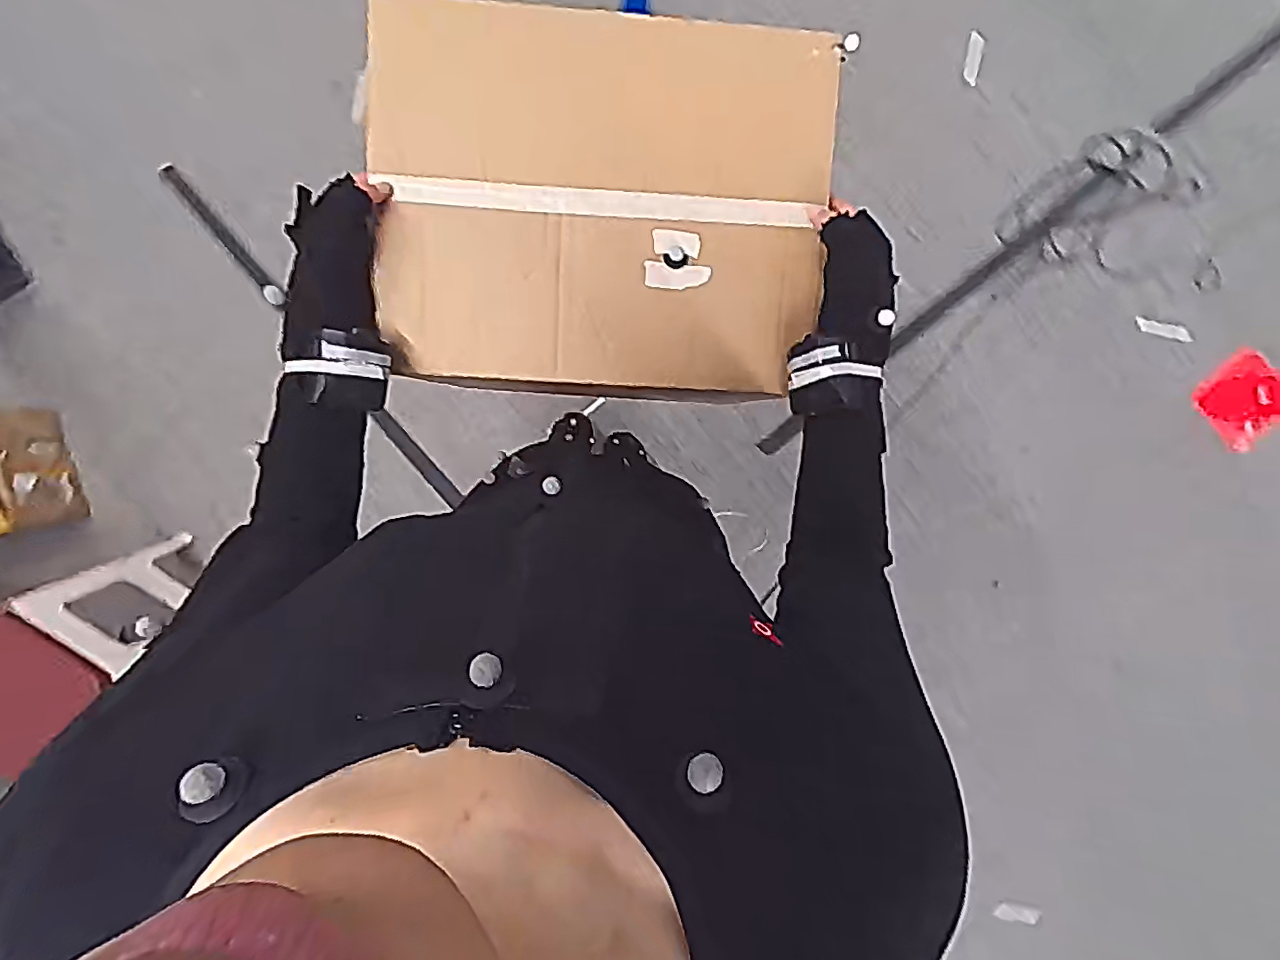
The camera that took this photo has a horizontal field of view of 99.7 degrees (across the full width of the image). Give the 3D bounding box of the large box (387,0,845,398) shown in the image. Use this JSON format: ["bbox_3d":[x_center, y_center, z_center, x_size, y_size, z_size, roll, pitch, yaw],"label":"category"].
[{"bbox_3d":[-0.032,-0.266,0.630,0.408,0.320,0.320,4,97,-4],"label":"large box"}]

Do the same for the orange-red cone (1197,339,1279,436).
[{"bbox_3d":[1.587,-0.229,1.248,0.199,0.360,0.198,-43,94,3],"label":"orange-red cone"}]
